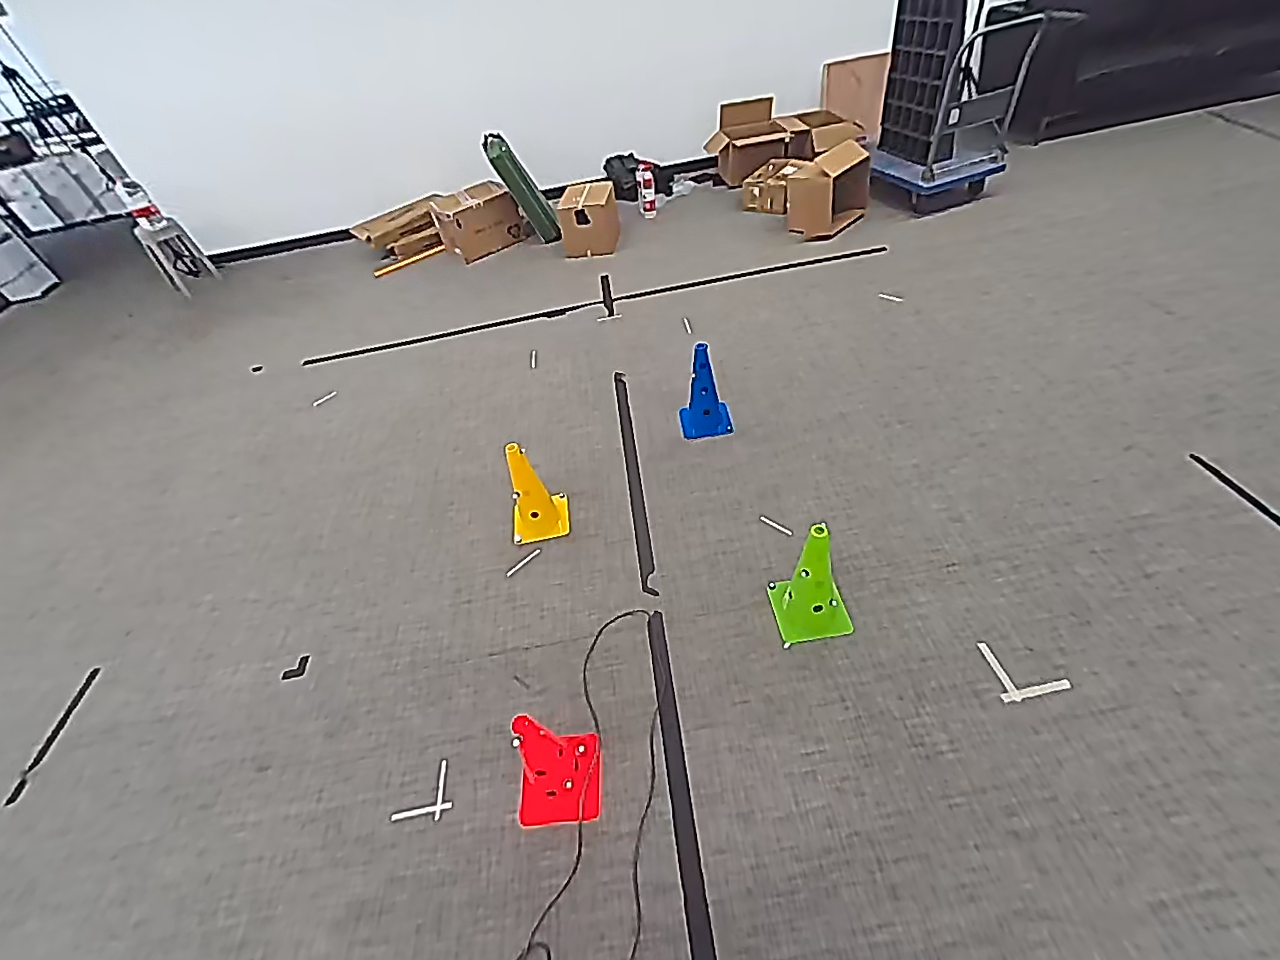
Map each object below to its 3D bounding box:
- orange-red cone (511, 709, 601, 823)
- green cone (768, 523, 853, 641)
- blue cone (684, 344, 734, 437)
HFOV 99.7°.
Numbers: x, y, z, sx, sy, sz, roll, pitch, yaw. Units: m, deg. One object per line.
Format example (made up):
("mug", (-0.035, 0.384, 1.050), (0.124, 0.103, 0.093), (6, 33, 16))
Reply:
("orange-red cone", (-0.224, 0.614, 1.226), (0.199, 0.360, 0.198), (-8, 43, 5))
("green cone", (0.469, 0.248, 1.449), (0.202, 0.368, 0.200), (-9, 45, 0))
("blue cone", (0.262, -0.357, 2.109), (0.192, 0.380, 0.193), (-7, 45, 3))
